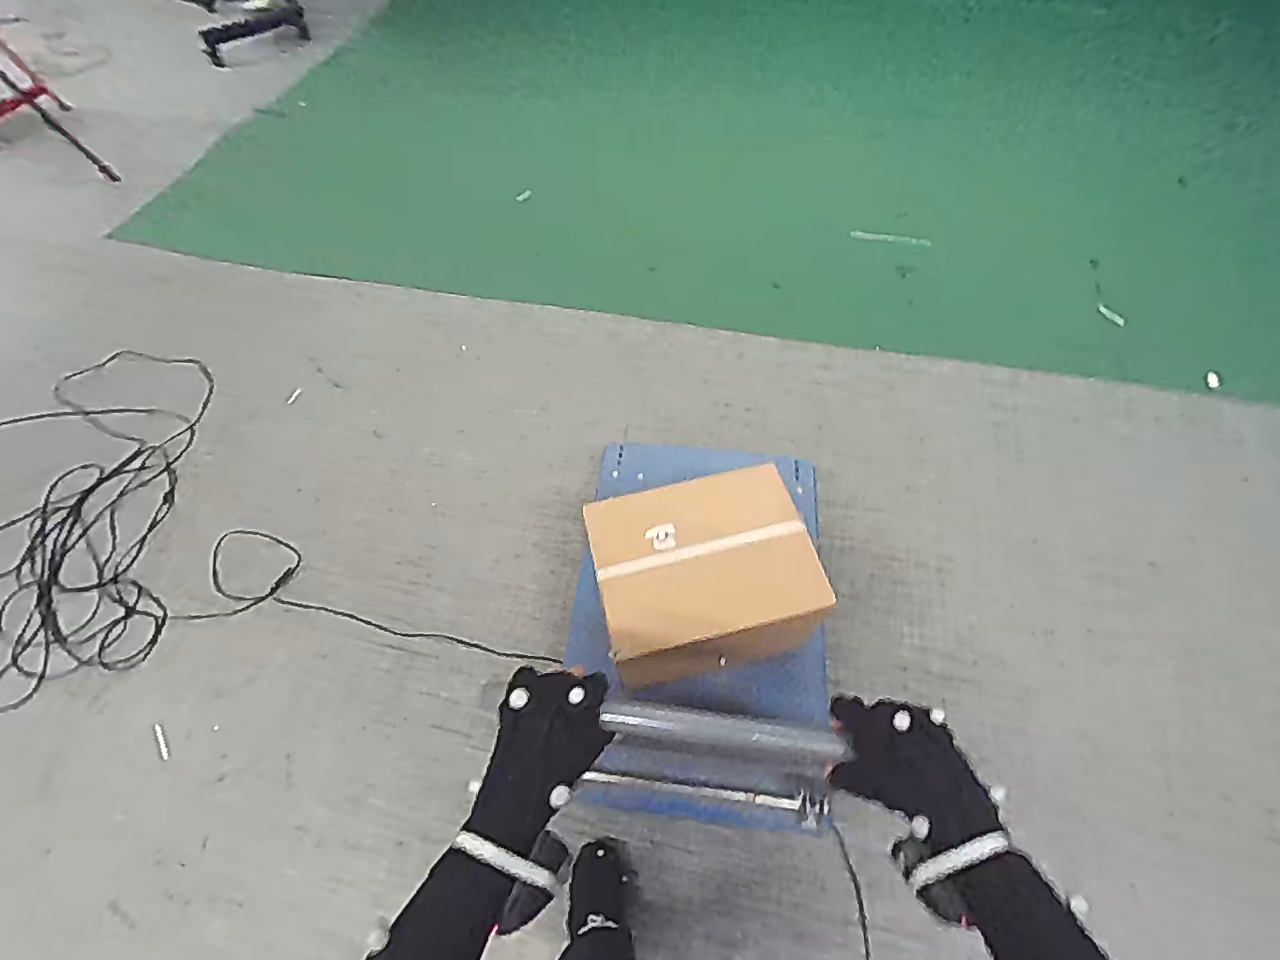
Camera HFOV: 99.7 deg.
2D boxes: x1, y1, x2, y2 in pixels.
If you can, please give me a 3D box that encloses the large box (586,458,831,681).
[{"bbox_3d":[0.126,0.200,1.157,0.408,0.320,0.320,-14,59,-5],"label":"large box"}]
